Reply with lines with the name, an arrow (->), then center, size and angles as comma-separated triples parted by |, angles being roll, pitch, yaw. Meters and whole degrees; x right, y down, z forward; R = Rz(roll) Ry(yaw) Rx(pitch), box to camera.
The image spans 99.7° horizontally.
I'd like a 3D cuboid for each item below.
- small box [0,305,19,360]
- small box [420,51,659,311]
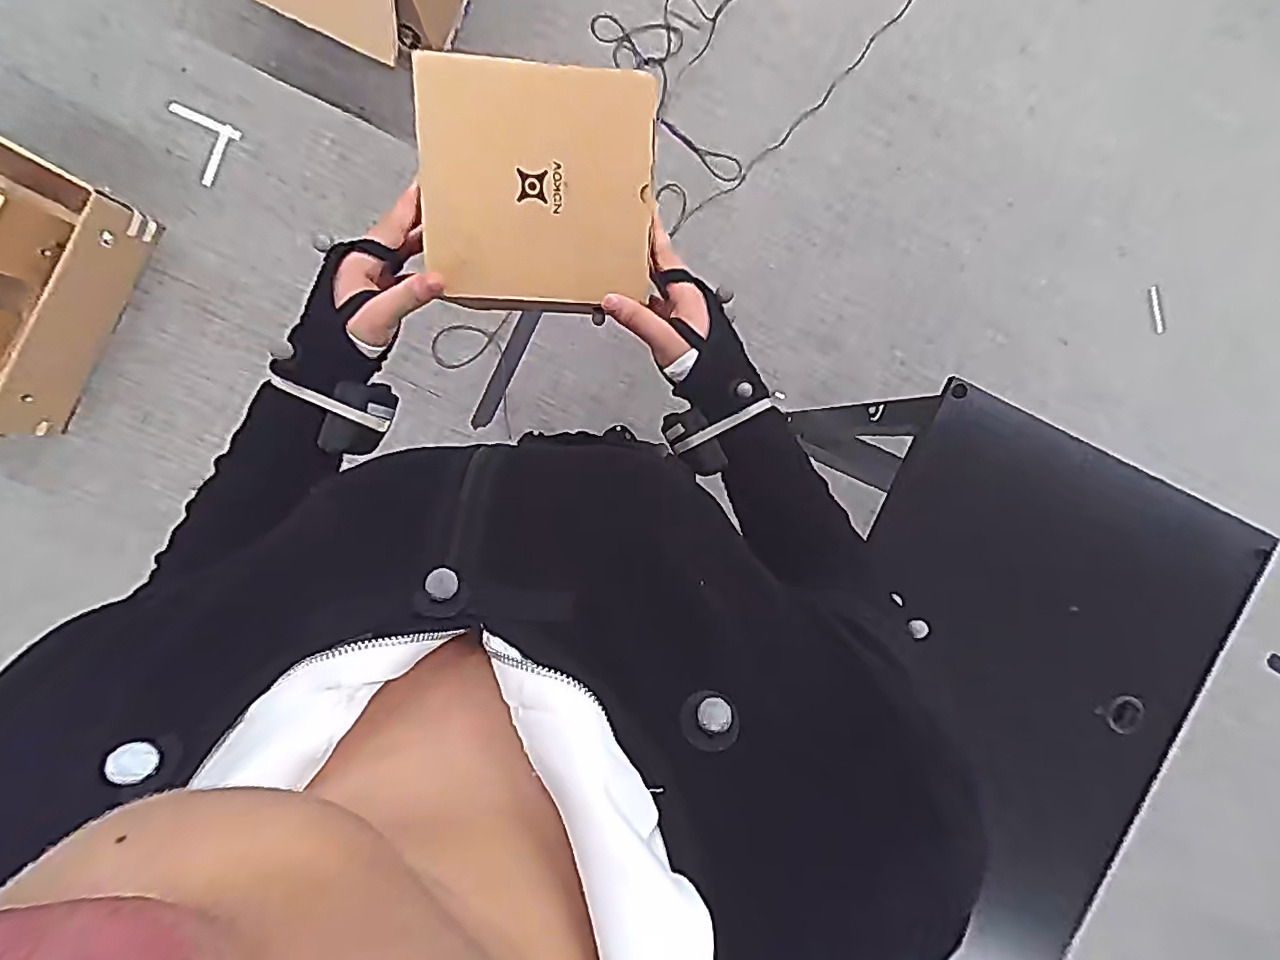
small box -> -1.592, -0.350, 1.219 | 0.168, 0.176, 0.179 | 29, 90, -8
small box -> -0.083, -0.246, 0.490 | 0.179, 0.176, 0.168 | 1, 105, -7
